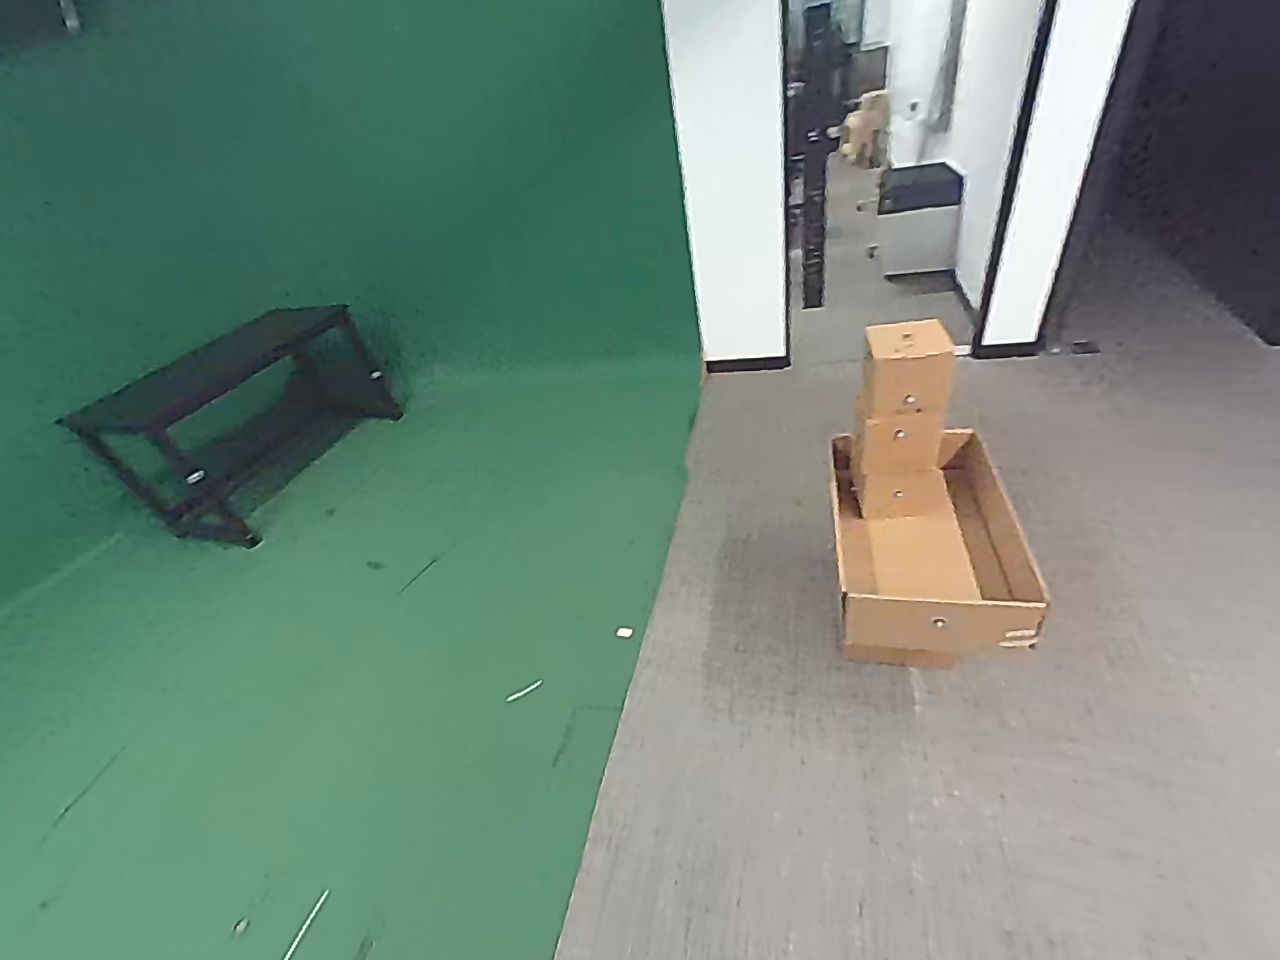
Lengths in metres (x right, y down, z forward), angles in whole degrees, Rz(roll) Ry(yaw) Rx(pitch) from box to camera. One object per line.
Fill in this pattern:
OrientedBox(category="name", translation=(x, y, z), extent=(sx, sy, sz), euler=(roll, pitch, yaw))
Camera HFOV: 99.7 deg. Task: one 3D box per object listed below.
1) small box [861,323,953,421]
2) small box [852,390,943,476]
OrientedBox(category="small box", translation=(0.639, -0.261, 1.317), extent=(0.168, 0.176, 0.179), euler=(-3, 39, 15))
OrientedBox(category="small box", translation=(0.662, -0.127, 1.411), extent=(0.179, 0.176, 0.168), euler=(-4, 39, 13))
